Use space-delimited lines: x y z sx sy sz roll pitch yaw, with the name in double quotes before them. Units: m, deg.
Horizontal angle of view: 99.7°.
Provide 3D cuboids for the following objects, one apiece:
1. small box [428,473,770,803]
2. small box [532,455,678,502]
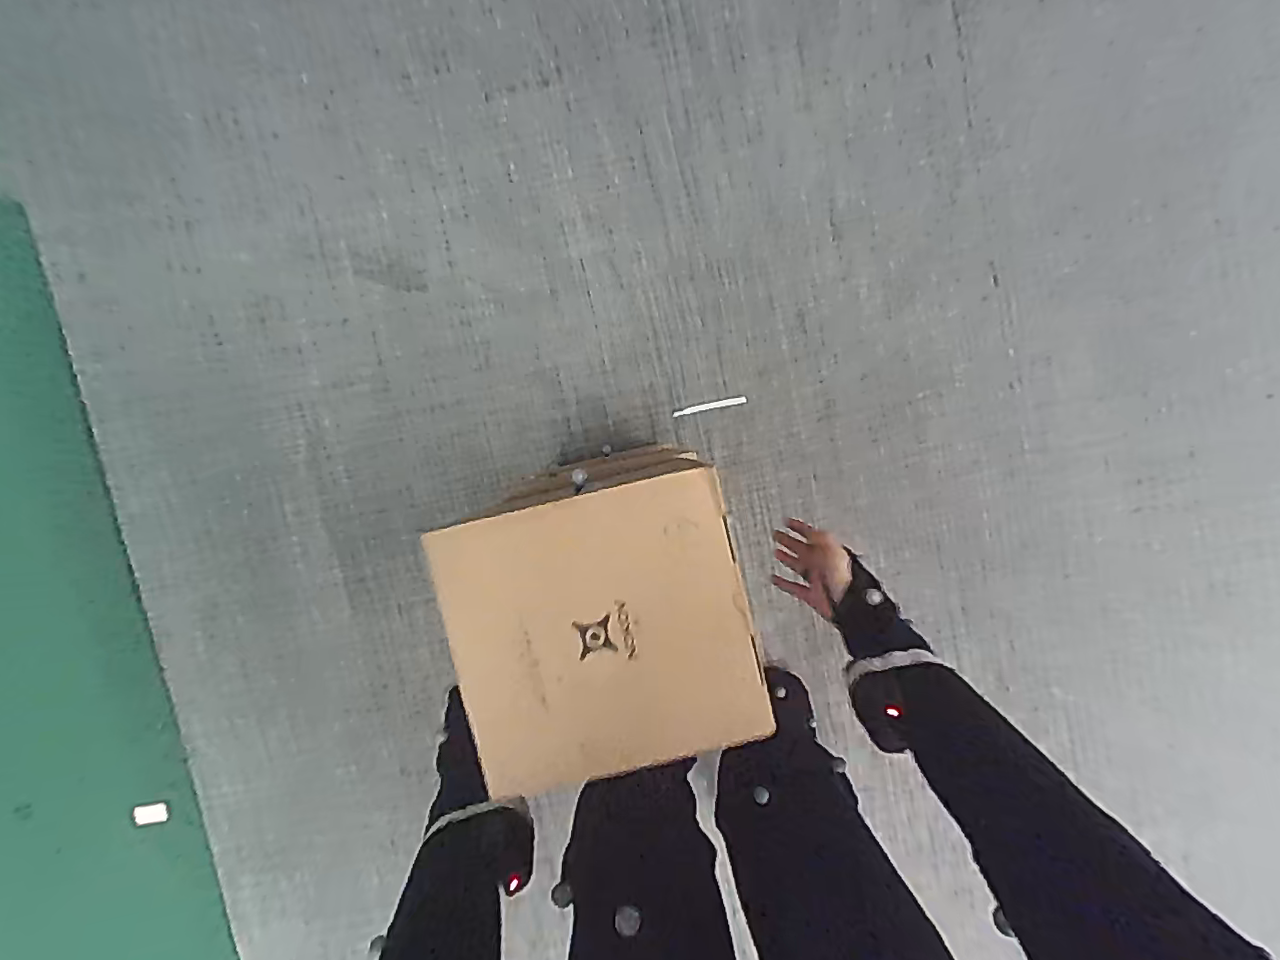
"small box" -0.024 0.091 0.398 0.179 0.176 0.168 -13 92 1
"small box" -0.030 0.062 0.725 0.179 0.176 0.168 -13 93 0
